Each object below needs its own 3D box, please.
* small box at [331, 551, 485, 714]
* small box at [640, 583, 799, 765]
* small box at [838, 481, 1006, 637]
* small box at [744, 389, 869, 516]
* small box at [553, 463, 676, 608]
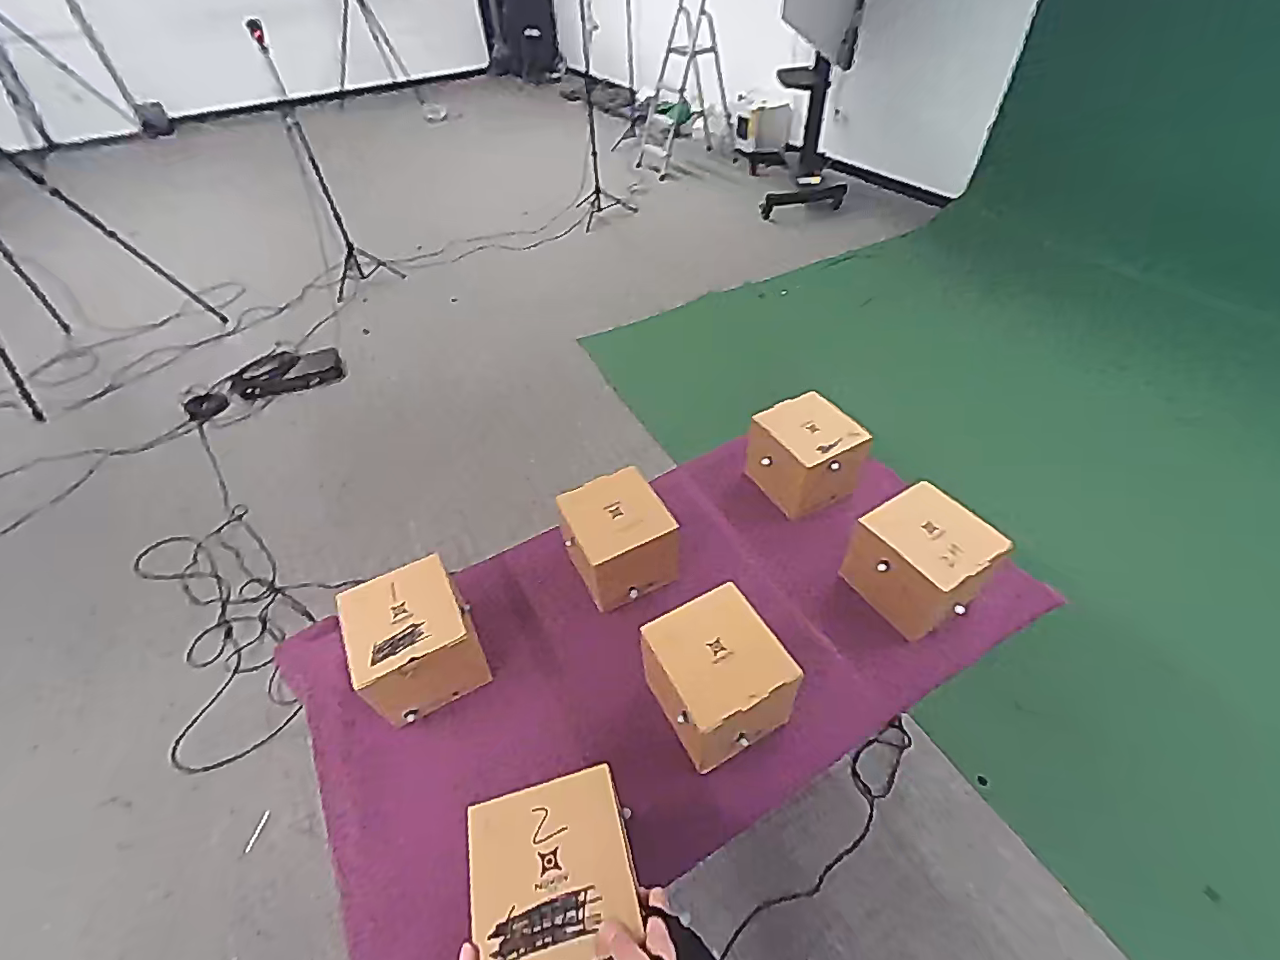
[{"bbox_3d":[-0.369,0.254,0.879,0.168,0.176,0.179,-23,52,-18],"label":"small box"},{"bbox_3d":[0.110,0.297,0.829,0.168,0.176,0.179,-23,51,-18],"label":"small box"},{"bbox_3d":[0.480,0.140,0.951,0.168,0.176,0.179,-26,52,-18],"label":"small box"},{"bbox_3d":[0.337,-0.057,1.136,0.168,0.176,0.179,-24,52,-17],"label":"small box"},{"bbox_3d":[-0.048,0.104,1.008,0.168,0.176,0.179,-22,52,-16],"label":"small box"}]
